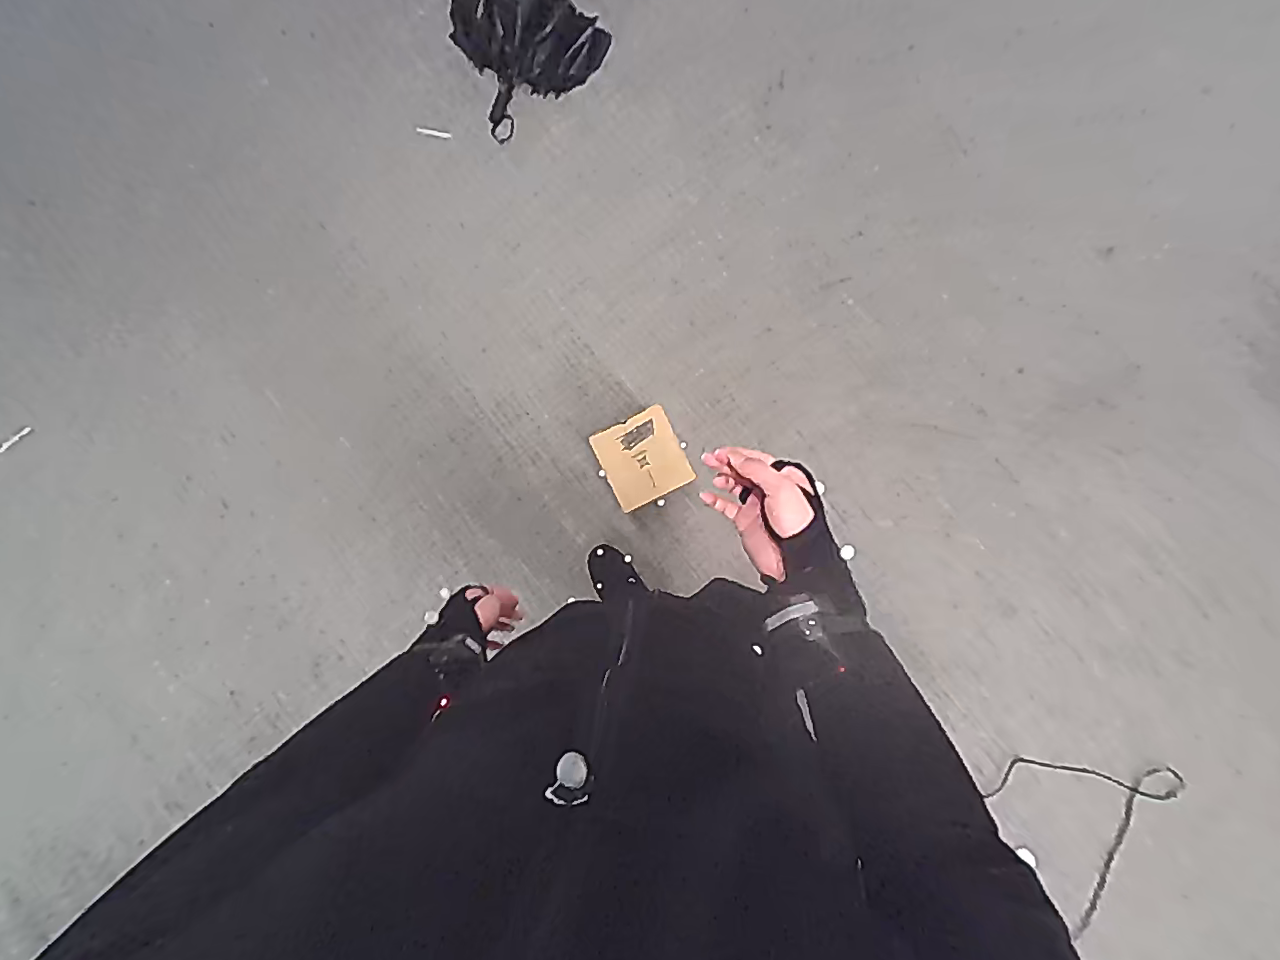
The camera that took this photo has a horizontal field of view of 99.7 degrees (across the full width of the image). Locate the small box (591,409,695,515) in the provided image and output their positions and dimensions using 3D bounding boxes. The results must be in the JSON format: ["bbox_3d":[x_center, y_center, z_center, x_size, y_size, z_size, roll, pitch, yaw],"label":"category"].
[{"bbox_3d":[0.008,-0.033,1.188,0.168,0.176,0.179,-25,88,2],"label":"small box"}]
